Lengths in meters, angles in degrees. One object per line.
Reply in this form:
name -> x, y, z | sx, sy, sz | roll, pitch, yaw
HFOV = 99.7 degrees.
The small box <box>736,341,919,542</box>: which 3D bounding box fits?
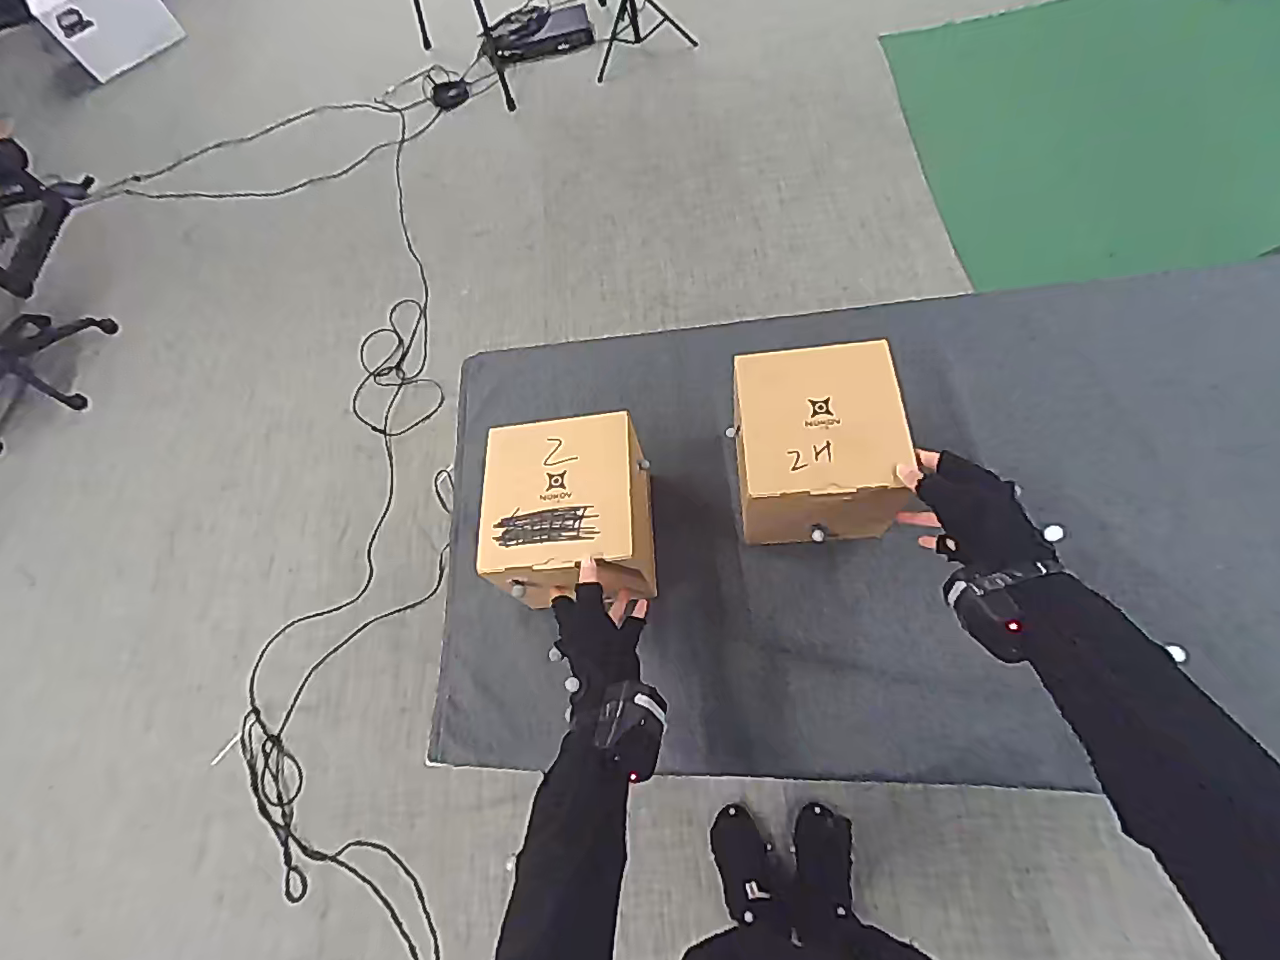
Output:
small box -> 0.202, -0.037, 0.639 | 0.168, 0.176, 0.179 | -4, 66, 8
